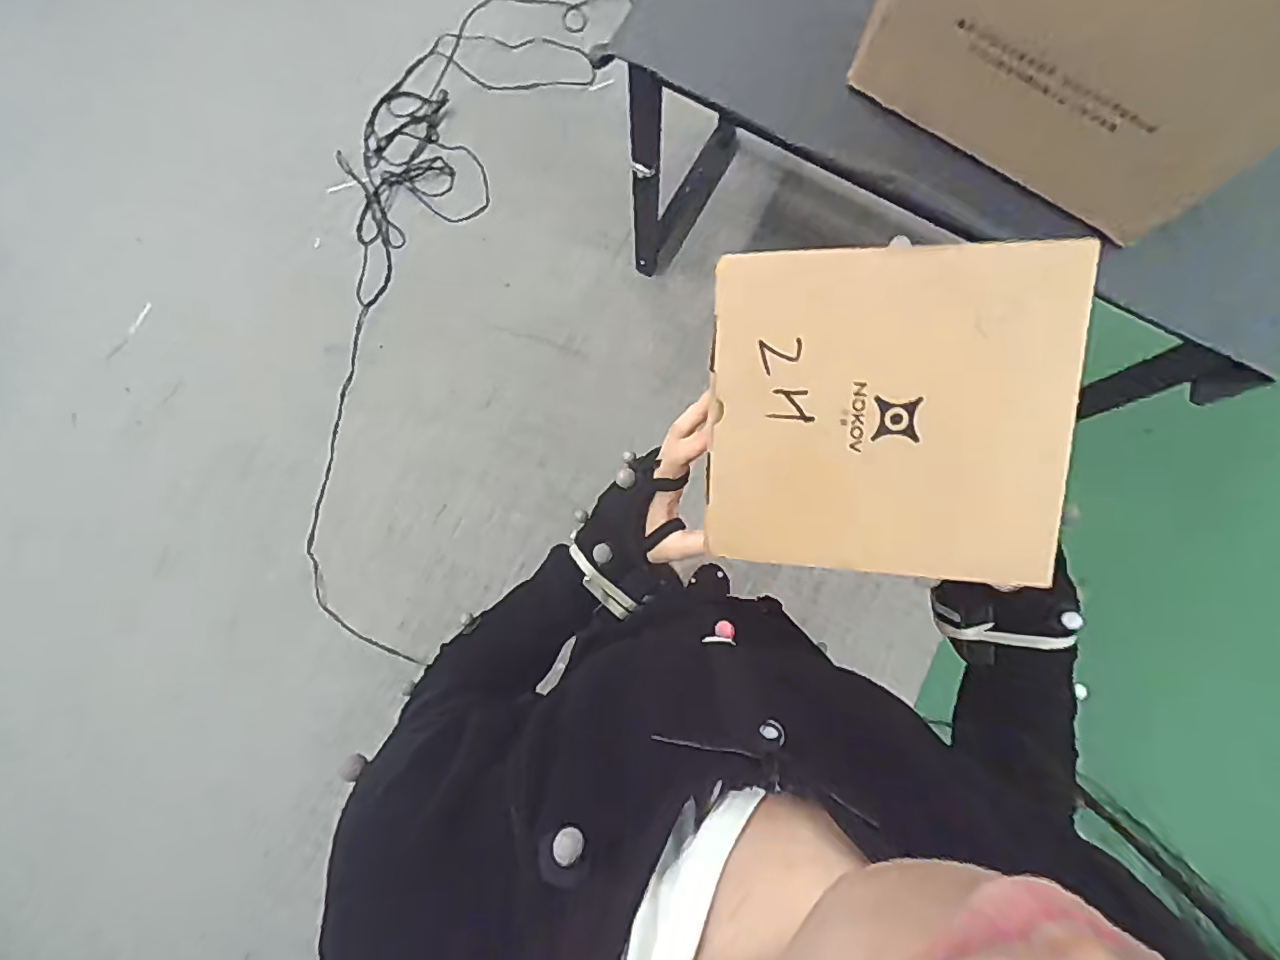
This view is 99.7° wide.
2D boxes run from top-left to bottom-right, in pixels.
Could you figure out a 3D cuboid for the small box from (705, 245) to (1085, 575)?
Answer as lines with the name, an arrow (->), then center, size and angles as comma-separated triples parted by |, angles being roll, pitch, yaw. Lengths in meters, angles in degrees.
small box -> 0.141, -0.046, 0.360 | 0.179, 0.176, 0.168 | 3, 98, 14
